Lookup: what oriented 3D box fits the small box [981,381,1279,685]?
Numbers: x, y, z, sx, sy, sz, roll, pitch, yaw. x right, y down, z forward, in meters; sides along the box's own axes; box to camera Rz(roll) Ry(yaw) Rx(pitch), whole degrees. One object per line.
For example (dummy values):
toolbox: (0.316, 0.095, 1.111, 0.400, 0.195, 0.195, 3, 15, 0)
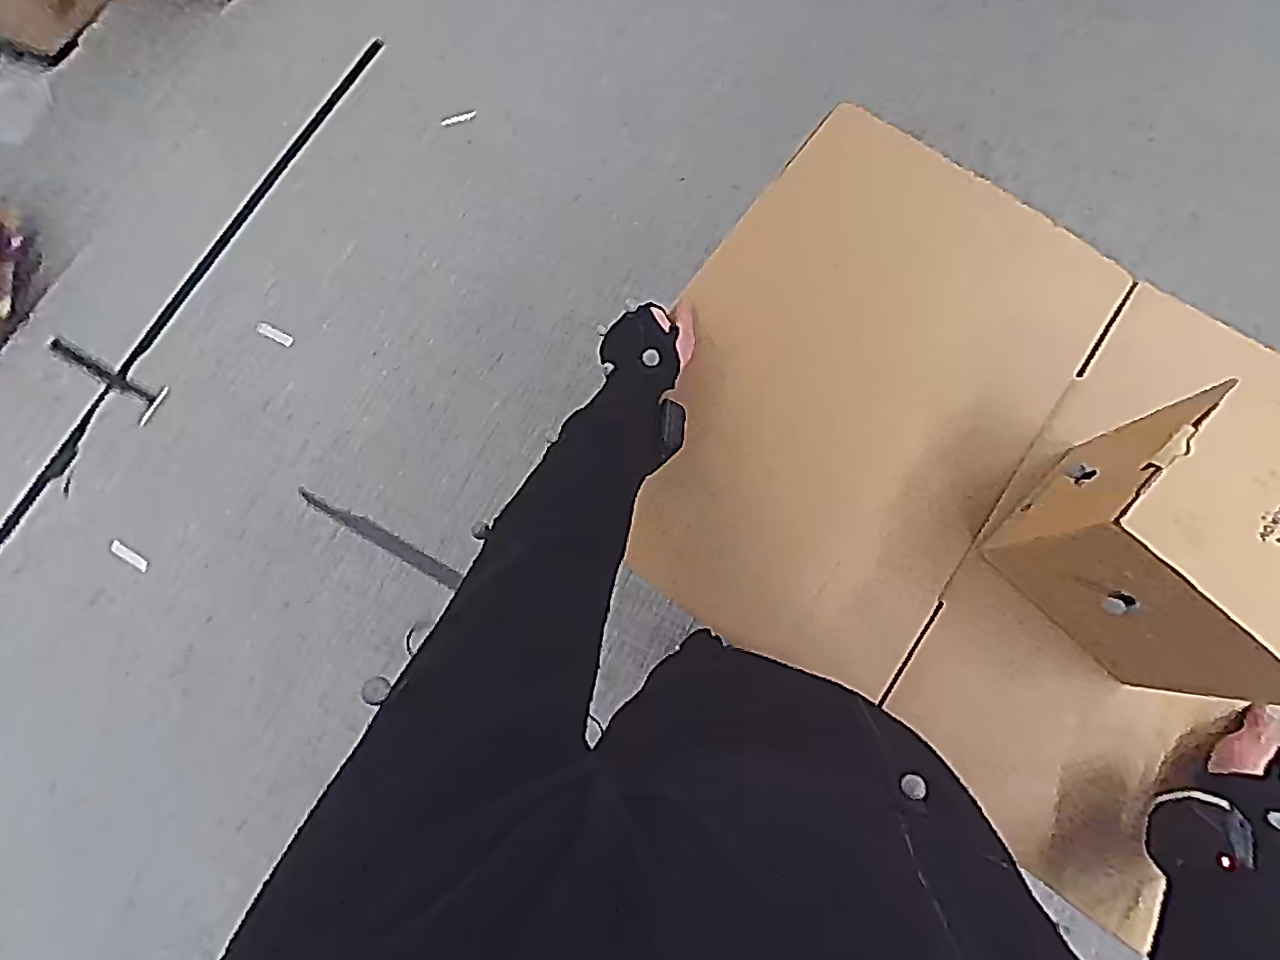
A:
small box: (0.451, 0.055, 0.469, 0.168, 0.176, 0.179, -43, 77, -9)
